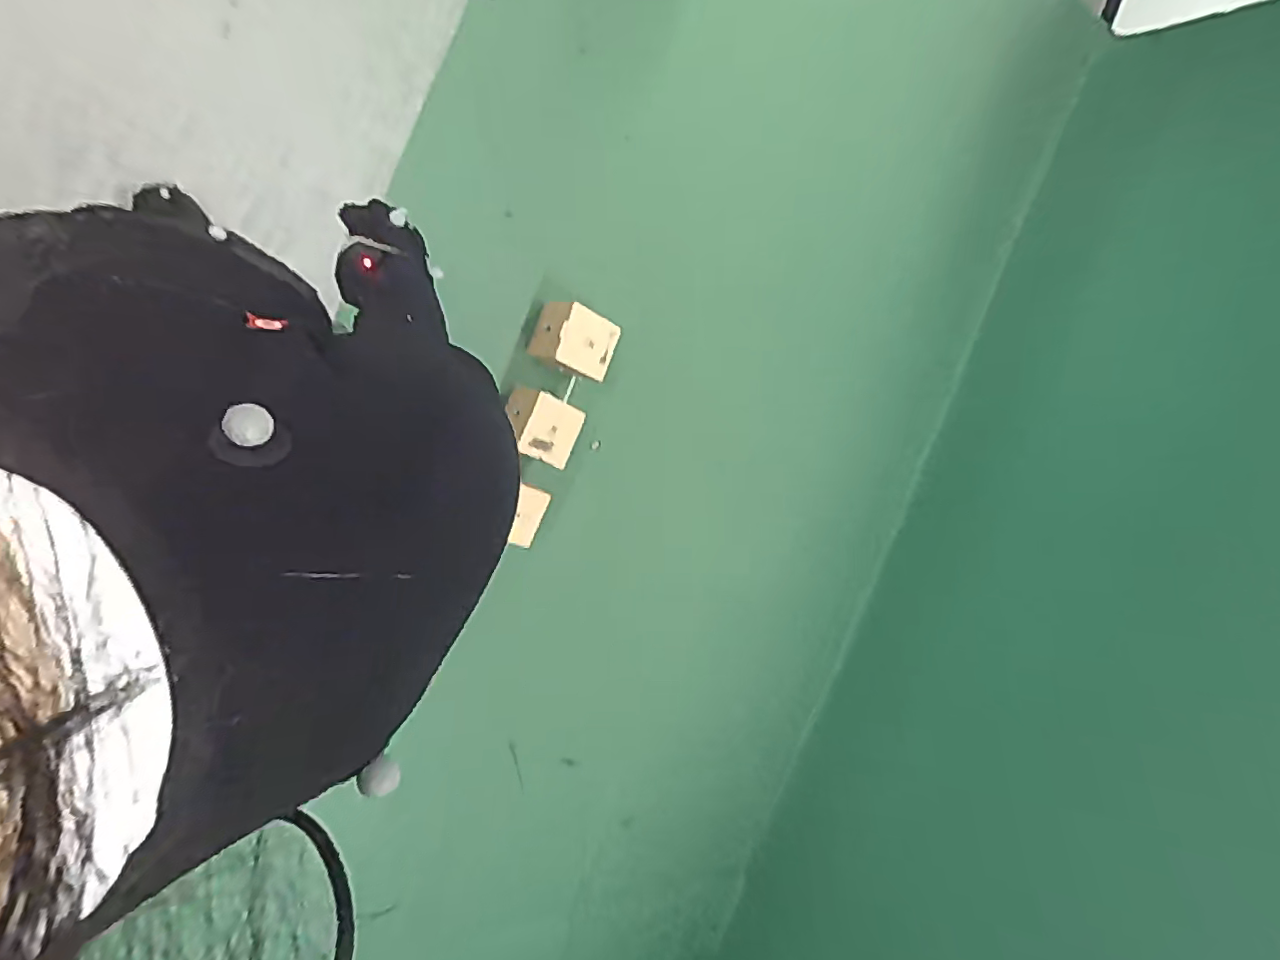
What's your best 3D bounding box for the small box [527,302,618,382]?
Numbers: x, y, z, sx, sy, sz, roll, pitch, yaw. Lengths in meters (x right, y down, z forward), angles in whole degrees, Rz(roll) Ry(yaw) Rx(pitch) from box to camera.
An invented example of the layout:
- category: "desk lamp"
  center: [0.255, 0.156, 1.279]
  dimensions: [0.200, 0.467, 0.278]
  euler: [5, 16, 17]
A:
- category: "small box"
  center: [-0.201, -0.401, 1.574]
  dimensions: [0.179, 0.176, 0.168]
  euler: [21, 91, -40]
